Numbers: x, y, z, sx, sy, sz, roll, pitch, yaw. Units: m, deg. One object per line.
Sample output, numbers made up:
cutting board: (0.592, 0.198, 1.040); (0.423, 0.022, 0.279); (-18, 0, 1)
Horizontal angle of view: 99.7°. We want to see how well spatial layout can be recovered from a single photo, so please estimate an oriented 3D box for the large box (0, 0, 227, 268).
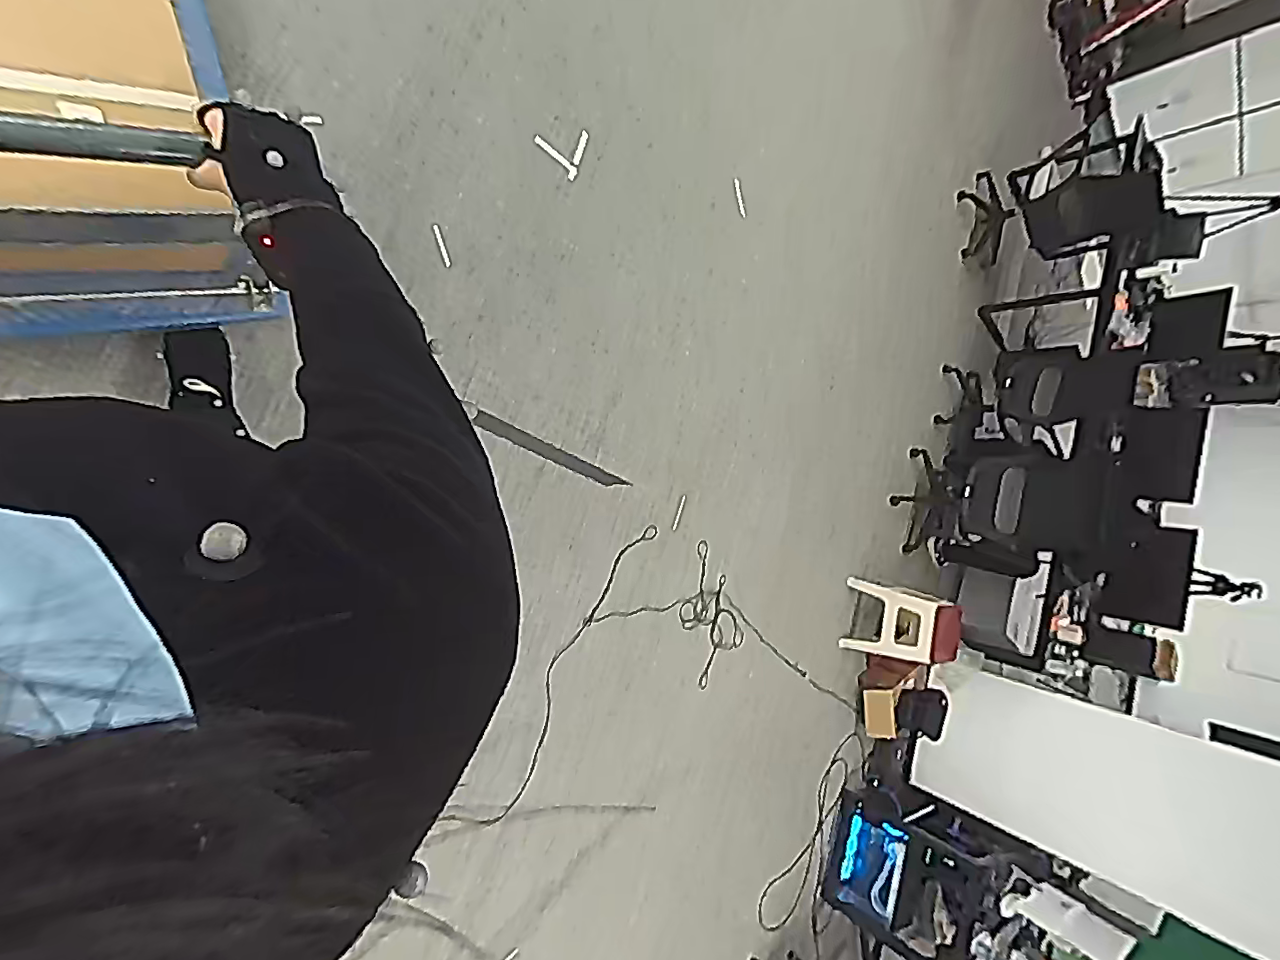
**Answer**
large box: (-0.892, -0.500, 0.771); (0.408, 0.320, 0.320); (-19, 107, -39)
